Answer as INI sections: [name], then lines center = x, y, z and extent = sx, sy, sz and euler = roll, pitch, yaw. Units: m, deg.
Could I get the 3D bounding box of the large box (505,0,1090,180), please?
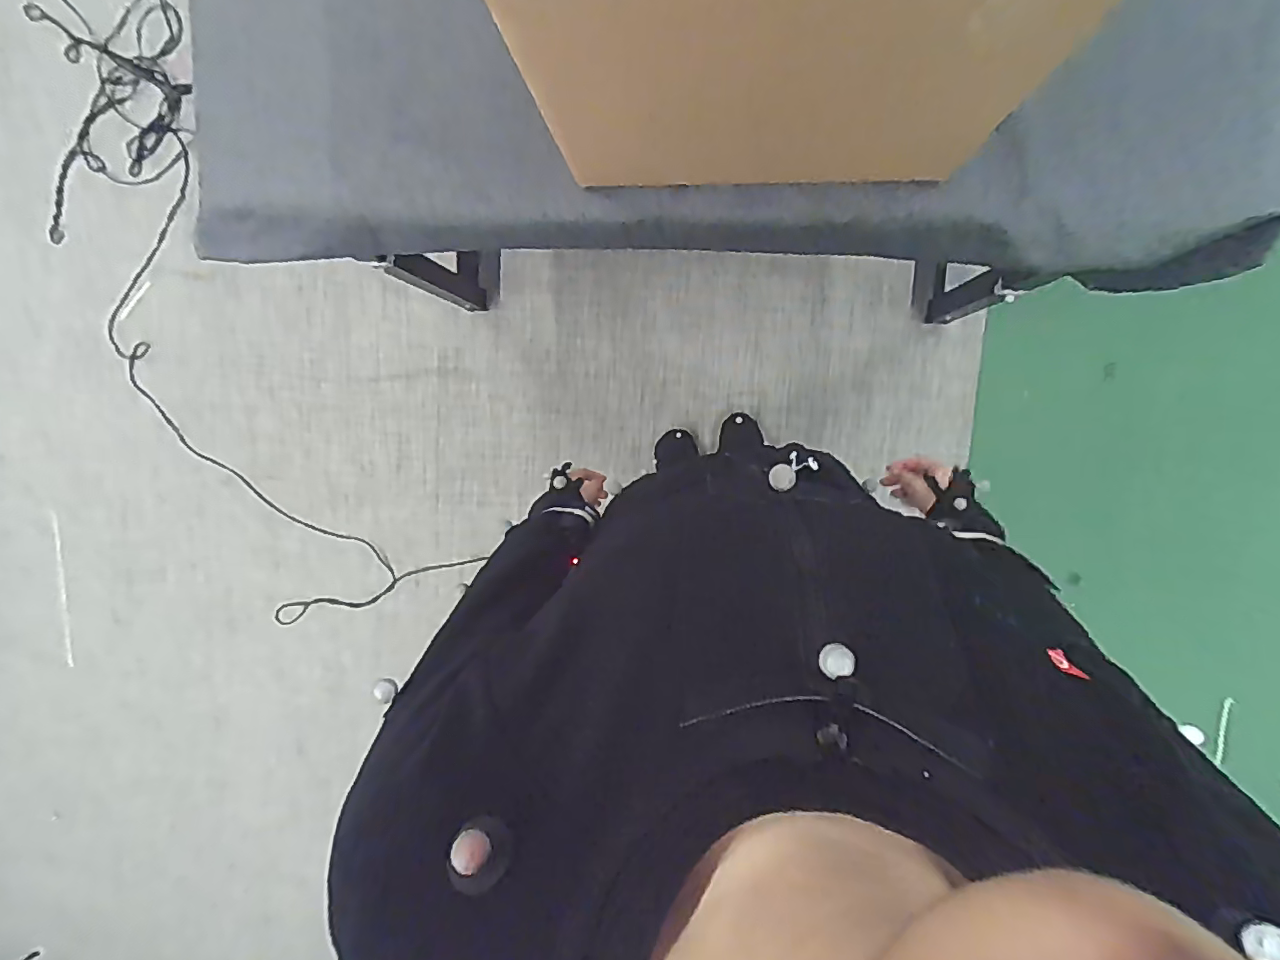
[large box]
center = 0.113, -0.475, 0.437
extent = 0.408, 0.320, 0.320
euler = 1, 96, 5
